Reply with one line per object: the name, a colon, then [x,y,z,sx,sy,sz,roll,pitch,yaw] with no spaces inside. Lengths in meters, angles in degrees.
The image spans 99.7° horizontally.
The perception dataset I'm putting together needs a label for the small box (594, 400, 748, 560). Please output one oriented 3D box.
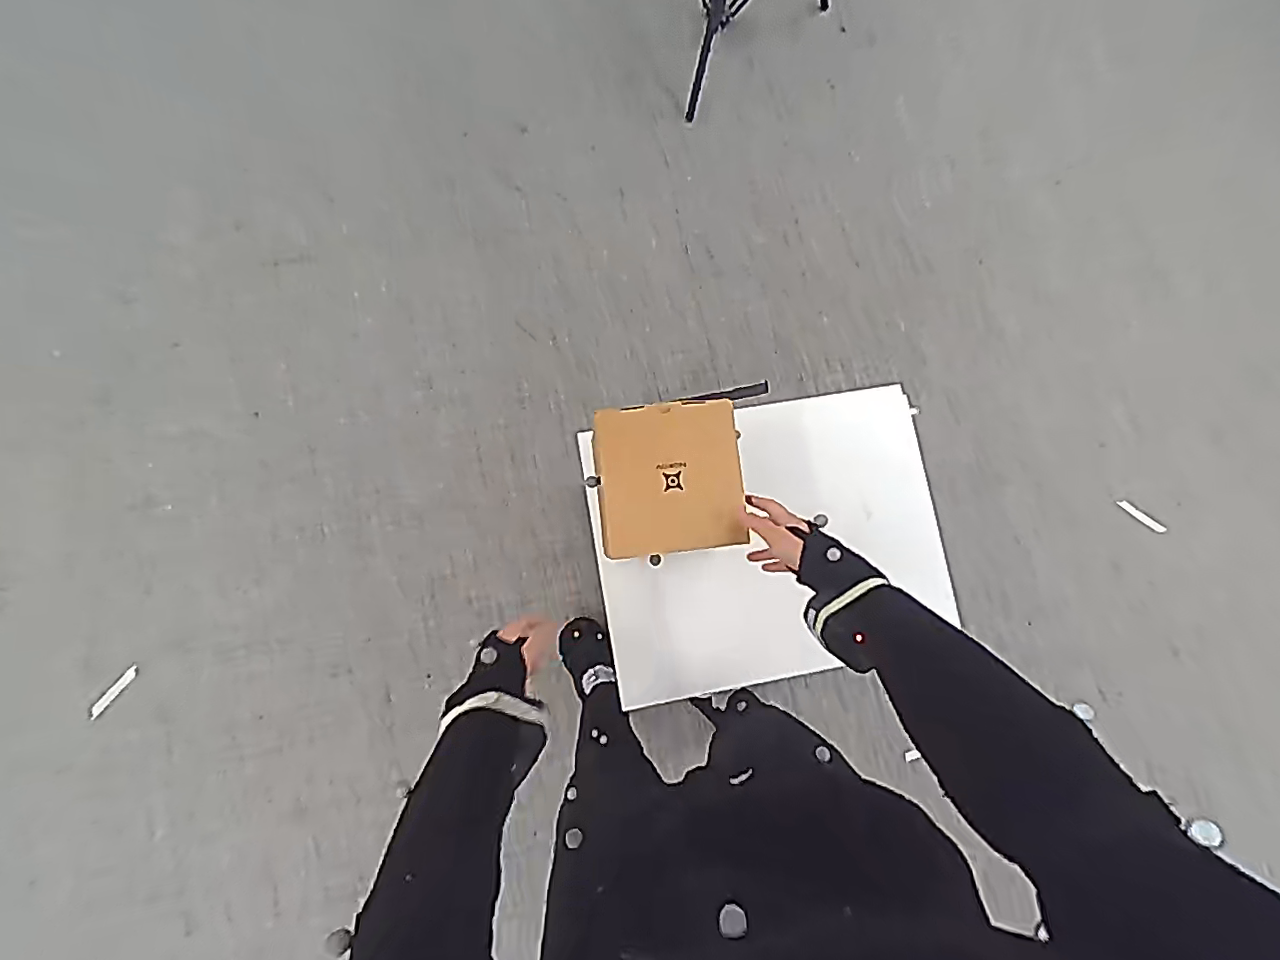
small box: [0.030,0.007,0.705,0.168,0.176,0.179,-6,83,-6]
